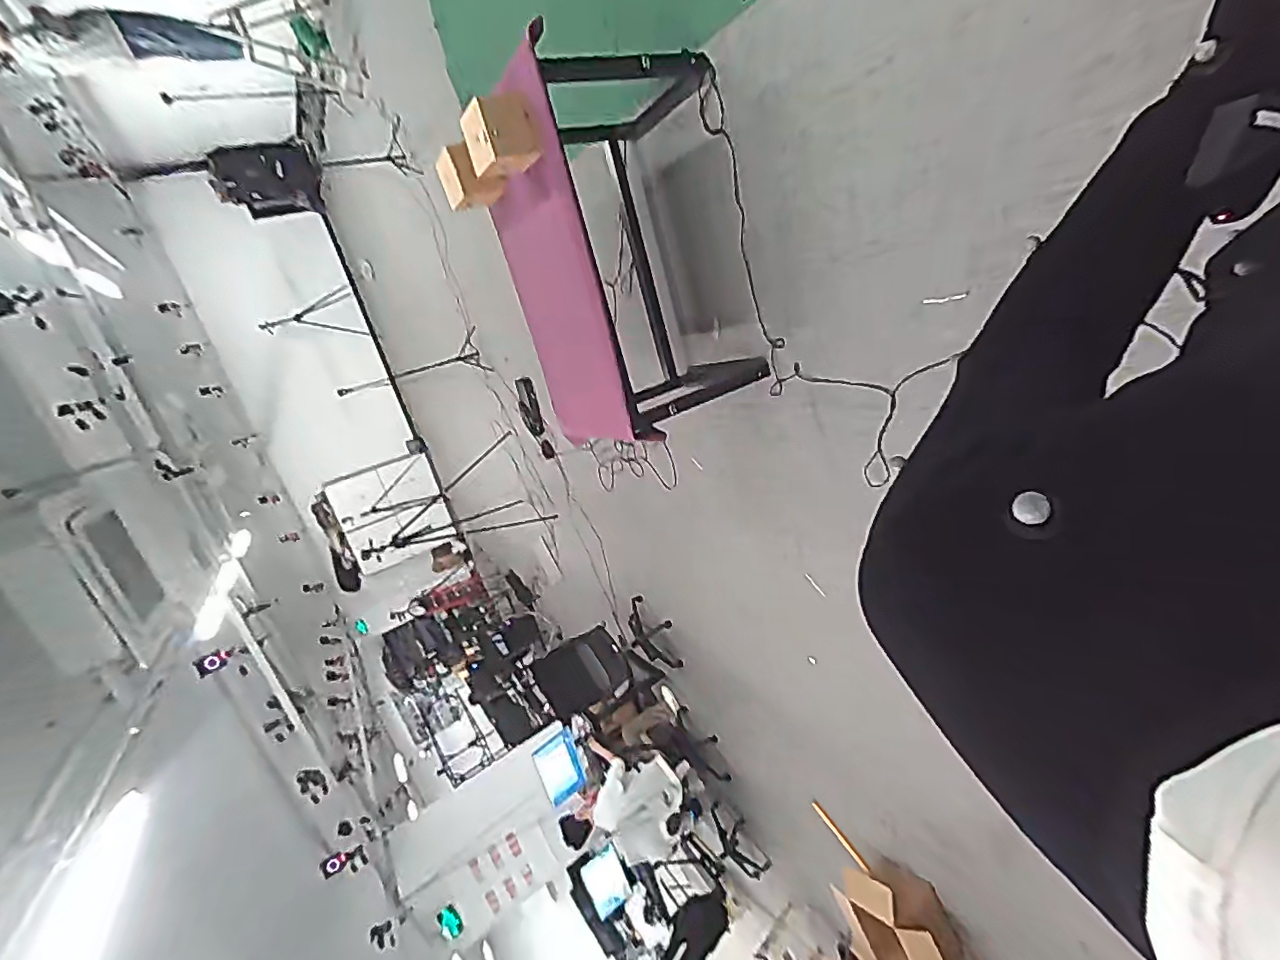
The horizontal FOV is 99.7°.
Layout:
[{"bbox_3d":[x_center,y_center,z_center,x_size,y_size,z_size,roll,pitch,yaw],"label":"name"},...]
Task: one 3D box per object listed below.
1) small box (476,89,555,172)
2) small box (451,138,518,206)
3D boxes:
[{"bbox_3d":[-0.388,-1.092,1.693,0.179,0.176,0.168,15,127,57],"label":"small box"},{"bbox_3d":[-0.571,-1.139,1.994,0.179,0.176,0.168,11,125,58],"label":"small box"}]
